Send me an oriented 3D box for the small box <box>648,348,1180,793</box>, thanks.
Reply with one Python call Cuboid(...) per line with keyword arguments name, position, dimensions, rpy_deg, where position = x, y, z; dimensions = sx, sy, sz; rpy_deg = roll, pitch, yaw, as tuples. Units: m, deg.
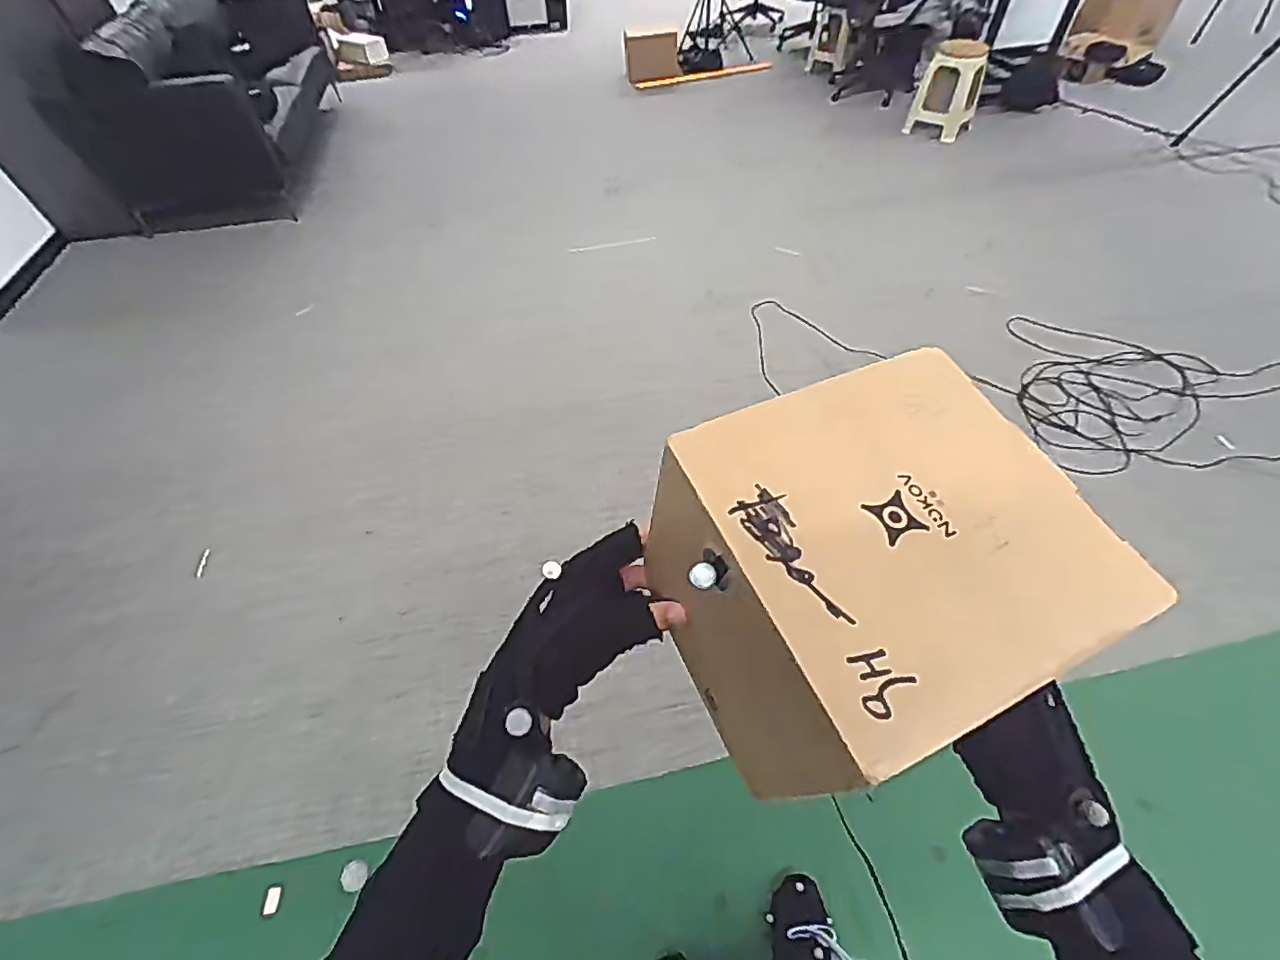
Cuboid(name="small box", position=(0.119, 0.057, 0.314), dimensions=(0.179, 0.176, 0.168), rpy_deg=(-19, 61, -17))
